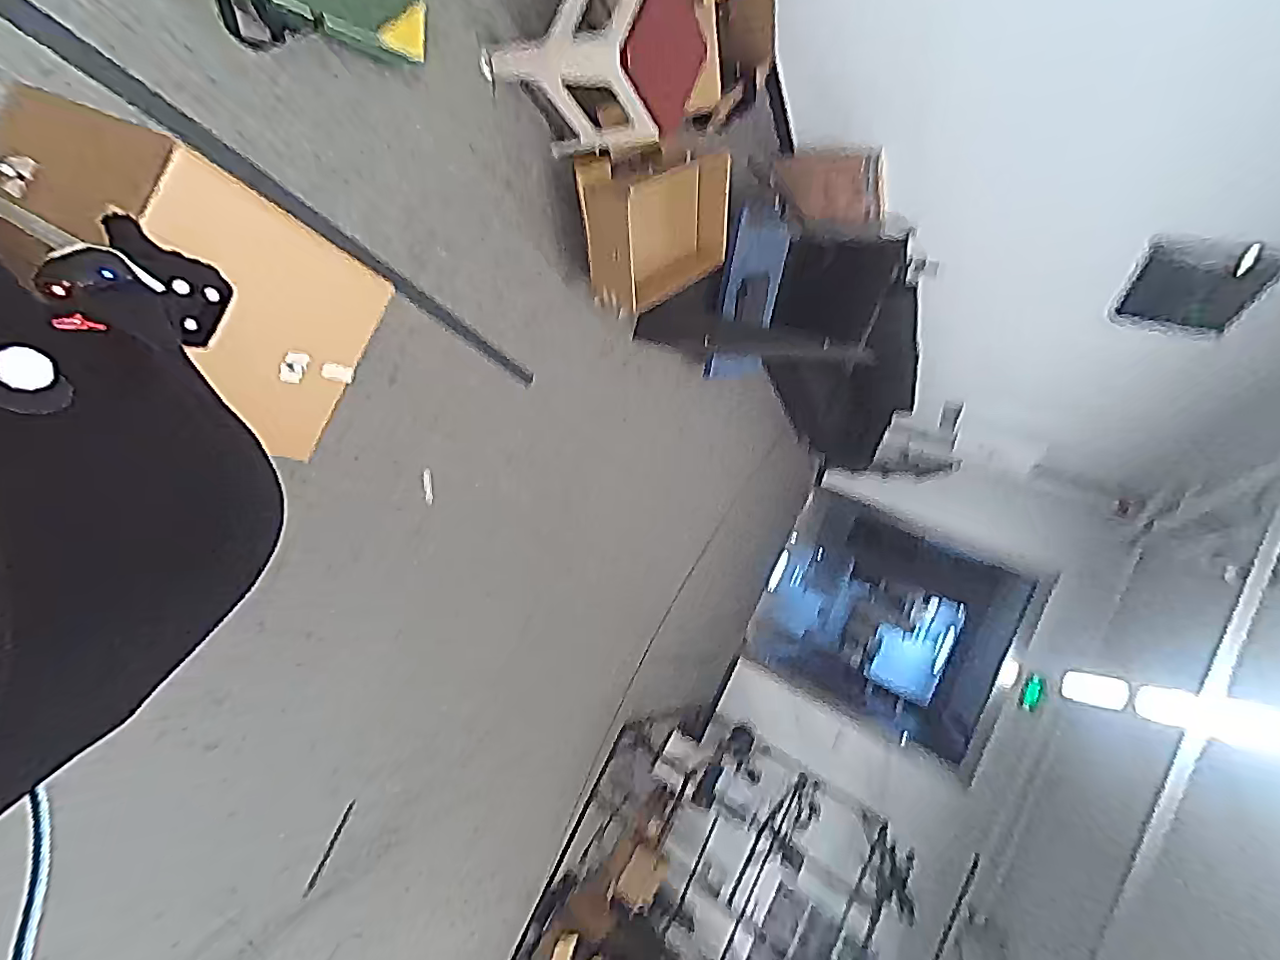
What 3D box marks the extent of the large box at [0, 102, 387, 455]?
[{"bbox_3d":[-0.671,-0.273,0.792,0.320,0.408,0.320,-63,157,-1],"label":"large box"}]
